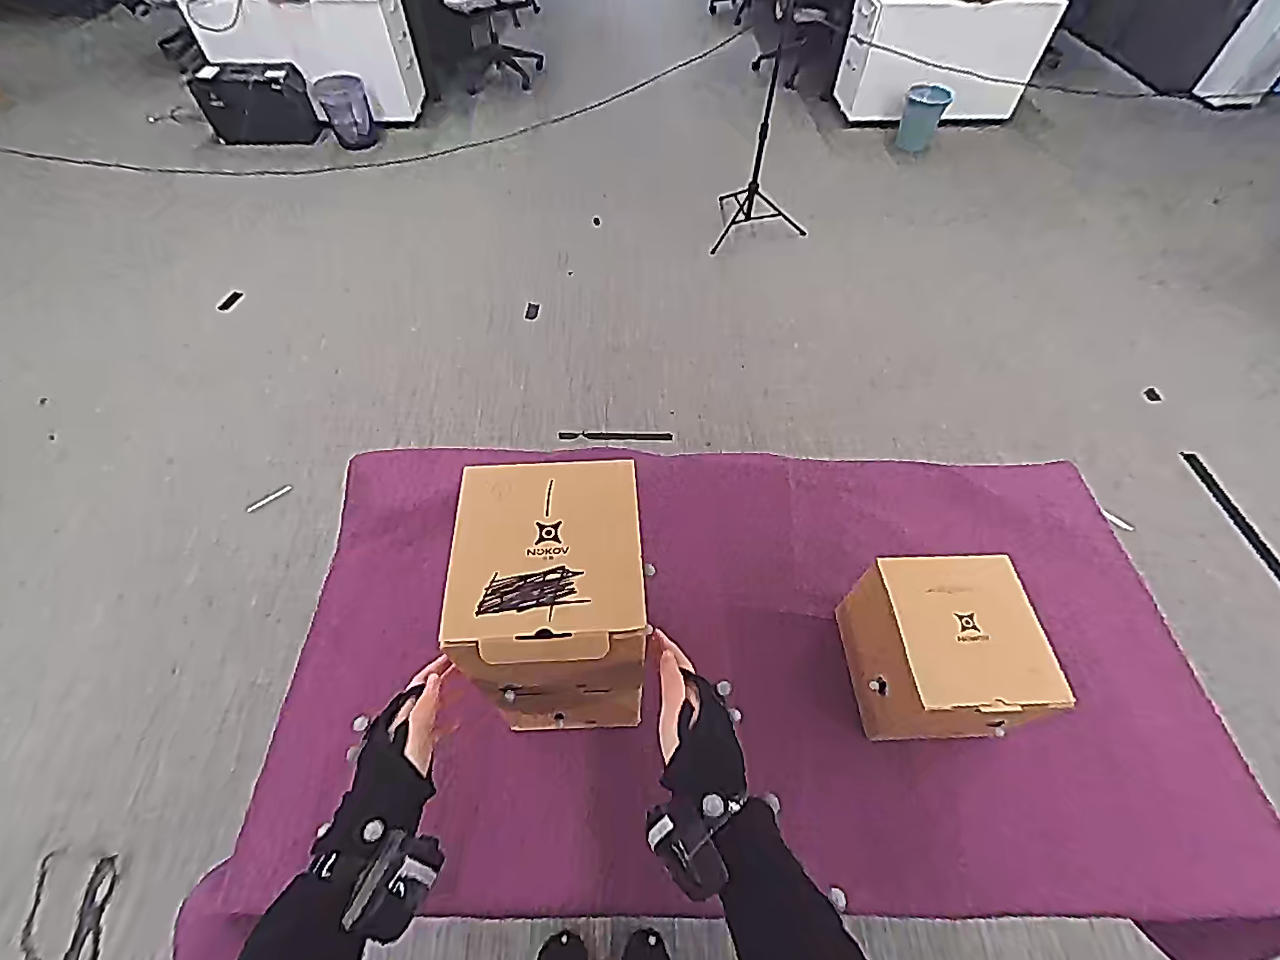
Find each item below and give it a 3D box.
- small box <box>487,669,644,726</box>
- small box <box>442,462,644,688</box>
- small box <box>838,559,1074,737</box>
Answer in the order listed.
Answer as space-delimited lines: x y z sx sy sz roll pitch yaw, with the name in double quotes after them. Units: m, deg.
-0.083 0.196 0.675 0.168 0.176 0.179 -1 56 -2 "small box"
-0.081 0.101 0.541 0.168 0.176 0.179 -2 55 -3 "small box"
0.366 0.213 0.669 0.168 0.176 0.179 0 55 -2 "small box"
